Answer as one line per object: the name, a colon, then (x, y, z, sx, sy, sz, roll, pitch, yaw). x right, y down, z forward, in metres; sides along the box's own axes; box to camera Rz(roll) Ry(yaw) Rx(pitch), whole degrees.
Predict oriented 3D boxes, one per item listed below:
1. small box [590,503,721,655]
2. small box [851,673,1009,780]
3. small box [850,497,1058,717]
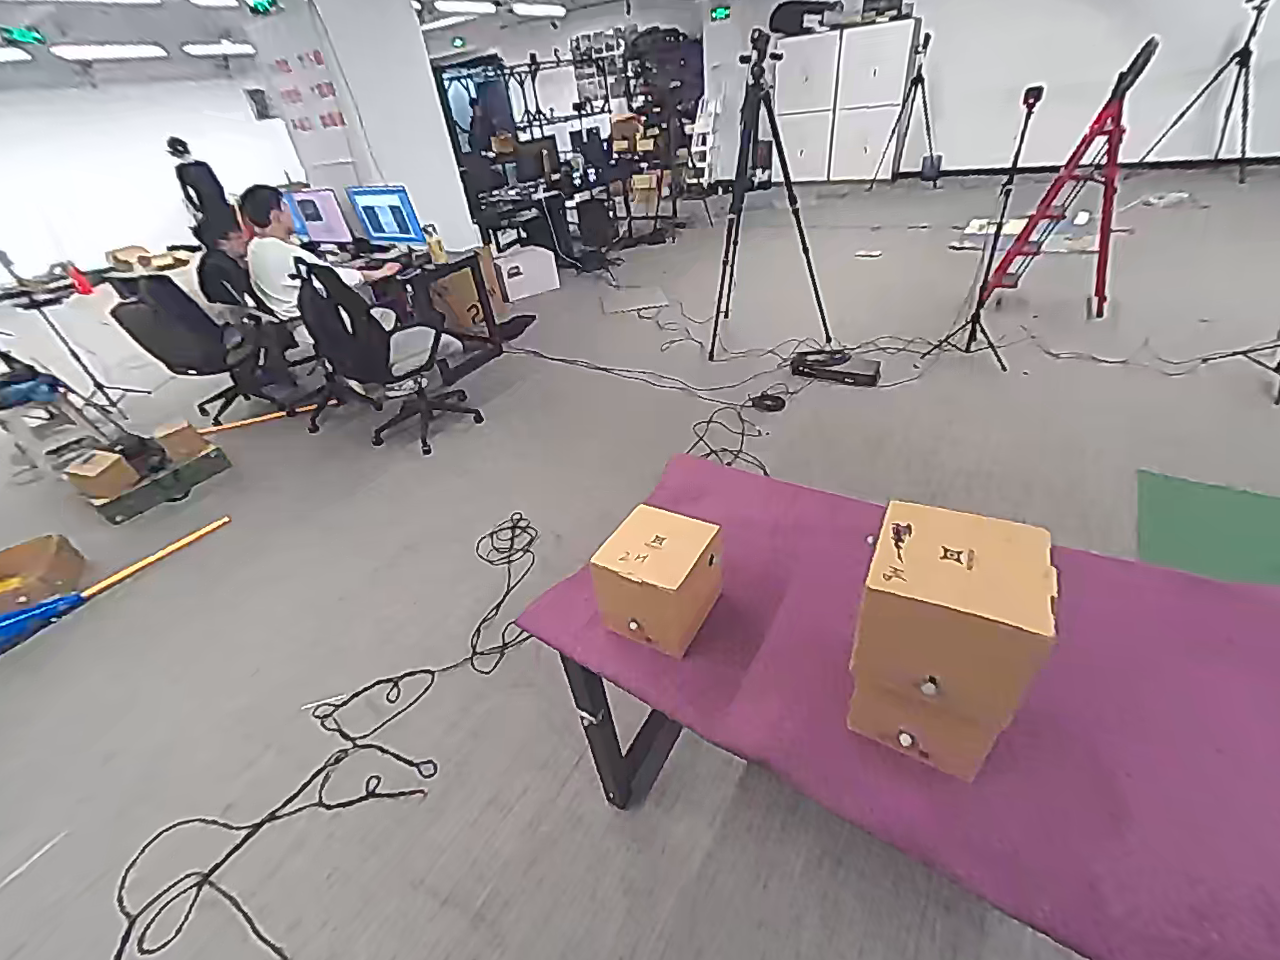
small box: (0.034, 0.171, 0.959, 0.168, 0.176, 0.179, 14, 40, 28)
small box: (0.406, 0.269, 0.756, 0.168, 0.176, 0.179, 16, 42, 30)
small box: (0.366, 0.150, 0.647, 0.179, 0.176, 0.168, 14, 41, 27)
